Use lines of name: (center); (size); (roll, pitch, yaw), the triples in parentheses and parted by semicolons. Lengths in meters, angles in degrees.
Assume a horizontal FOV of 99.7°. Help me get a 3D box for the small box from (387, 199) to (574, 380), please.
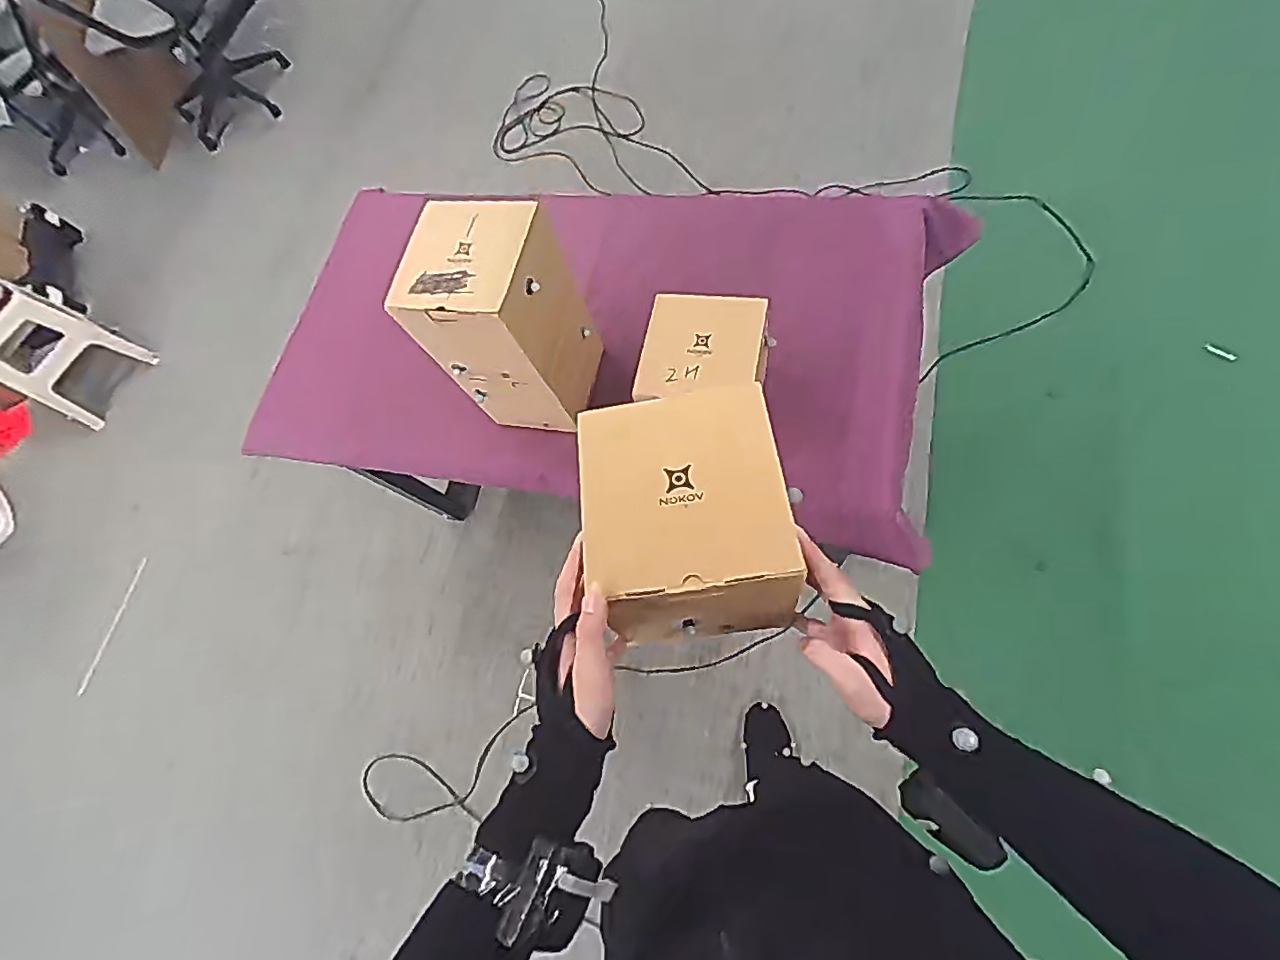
small box: (-0.206, -0.258, 0.753); (0.168, 0.176, 0.179); (9, 71, 14)

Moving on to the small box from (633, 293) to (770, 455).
small box: (0.101, -0.158, 0.830); (0.168, 0.176, 0.179); (9, 72, 15)
